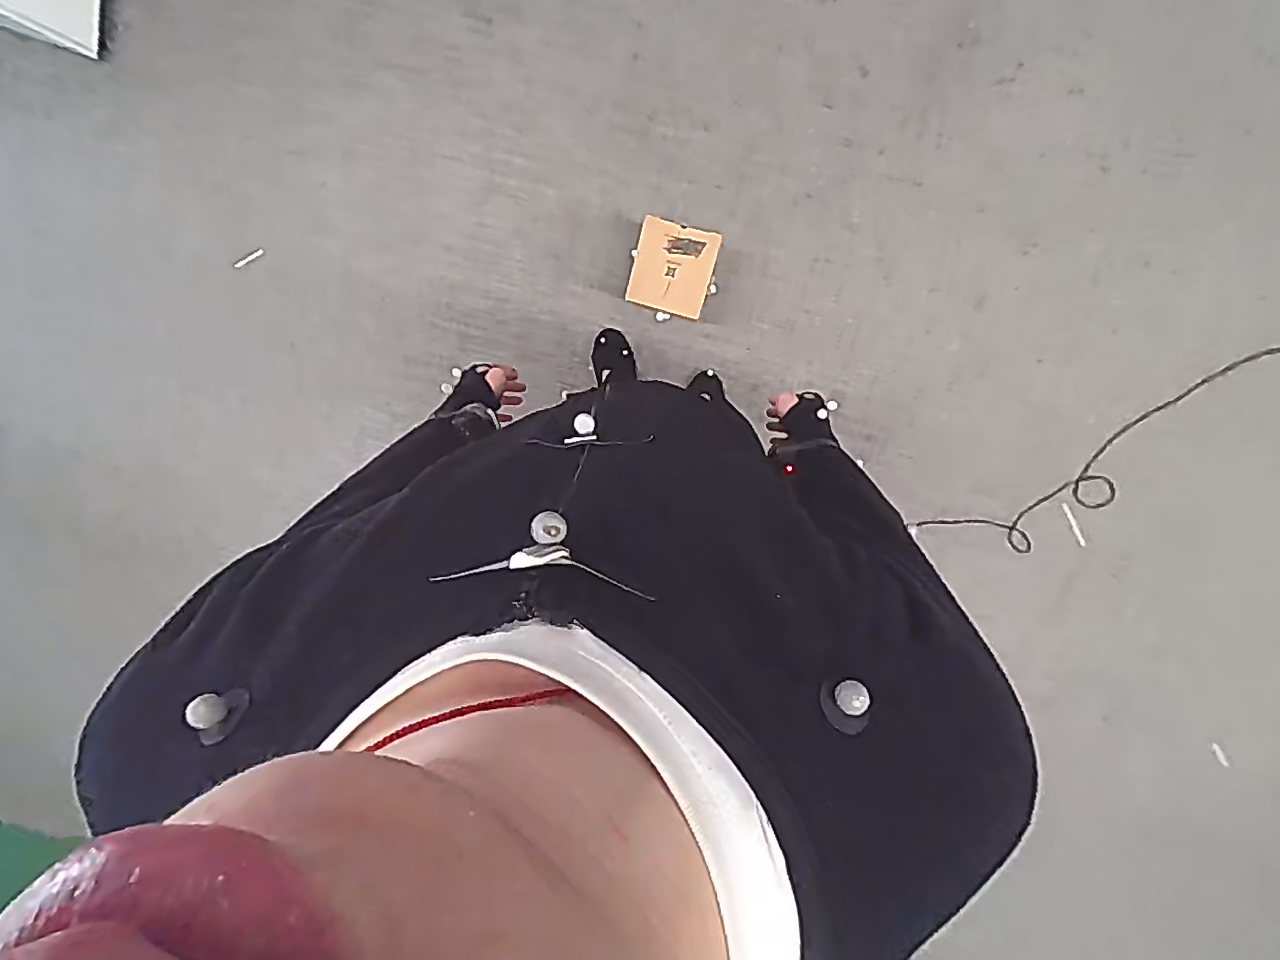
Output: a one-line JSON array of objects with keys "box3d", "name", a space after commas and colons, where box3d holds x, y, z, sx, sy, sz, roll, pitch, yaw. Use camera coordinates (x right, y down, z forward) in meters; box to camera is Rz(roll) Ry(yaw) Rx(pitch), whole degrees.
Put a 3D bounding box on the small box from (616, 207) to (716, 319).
[{"box3d": [0.057, -0.471, 1.199, 0.168, 0.176, 0.179, 19, 104, 1], "name": "small box"}]
